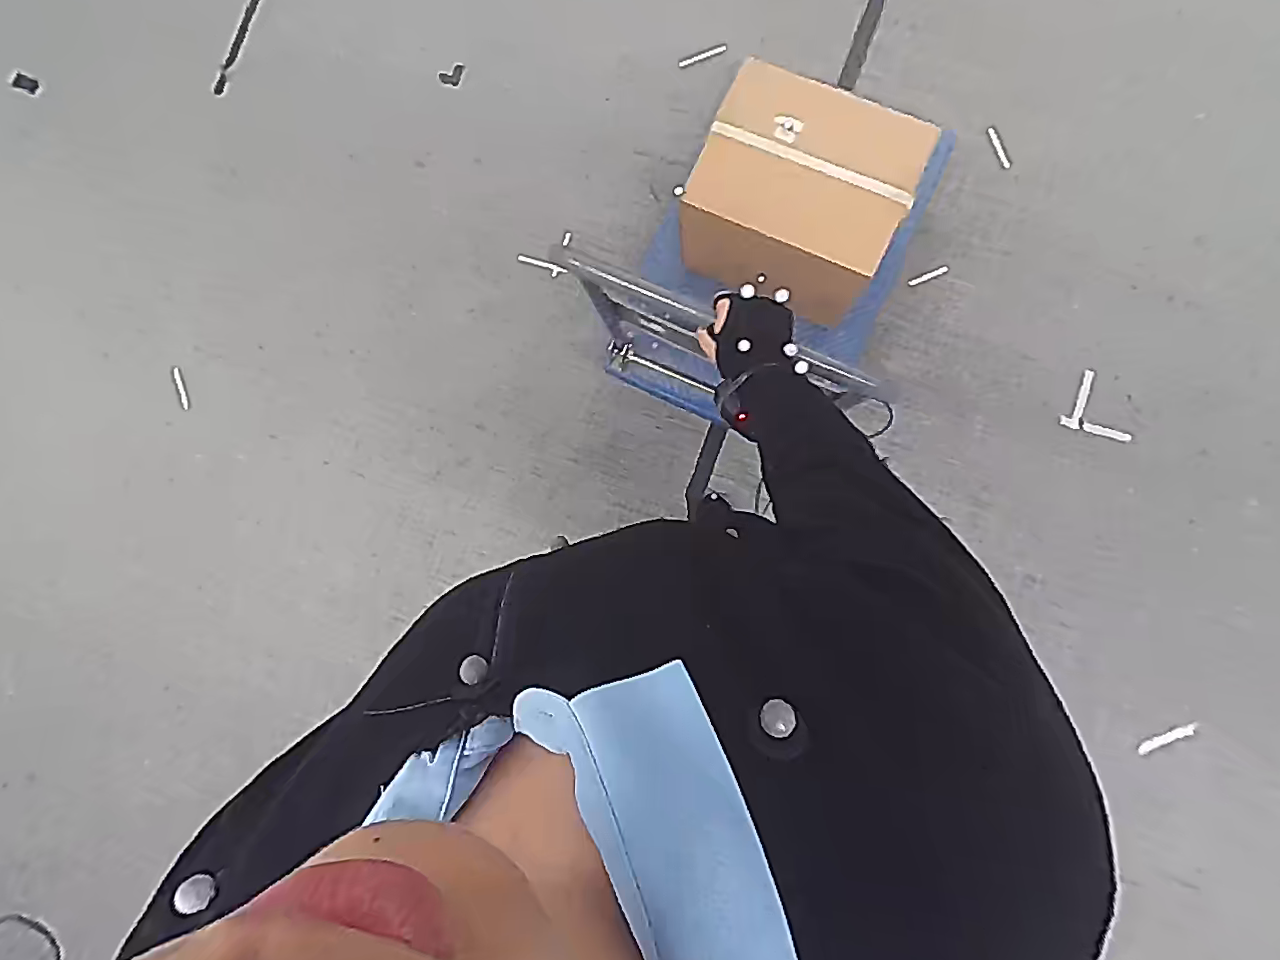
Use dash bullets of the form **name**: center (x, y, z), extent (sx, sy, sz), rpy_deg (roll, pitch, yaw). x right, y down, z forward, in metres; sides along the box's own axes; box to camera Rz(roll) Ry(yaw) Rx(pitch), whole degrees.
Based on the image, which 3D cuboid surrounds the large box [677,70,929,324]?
- **large box**: center (0.332, -0.598, 1.201), extent (0.408, 0.320, 0.320), rpy_deg (25, 89, 8)
